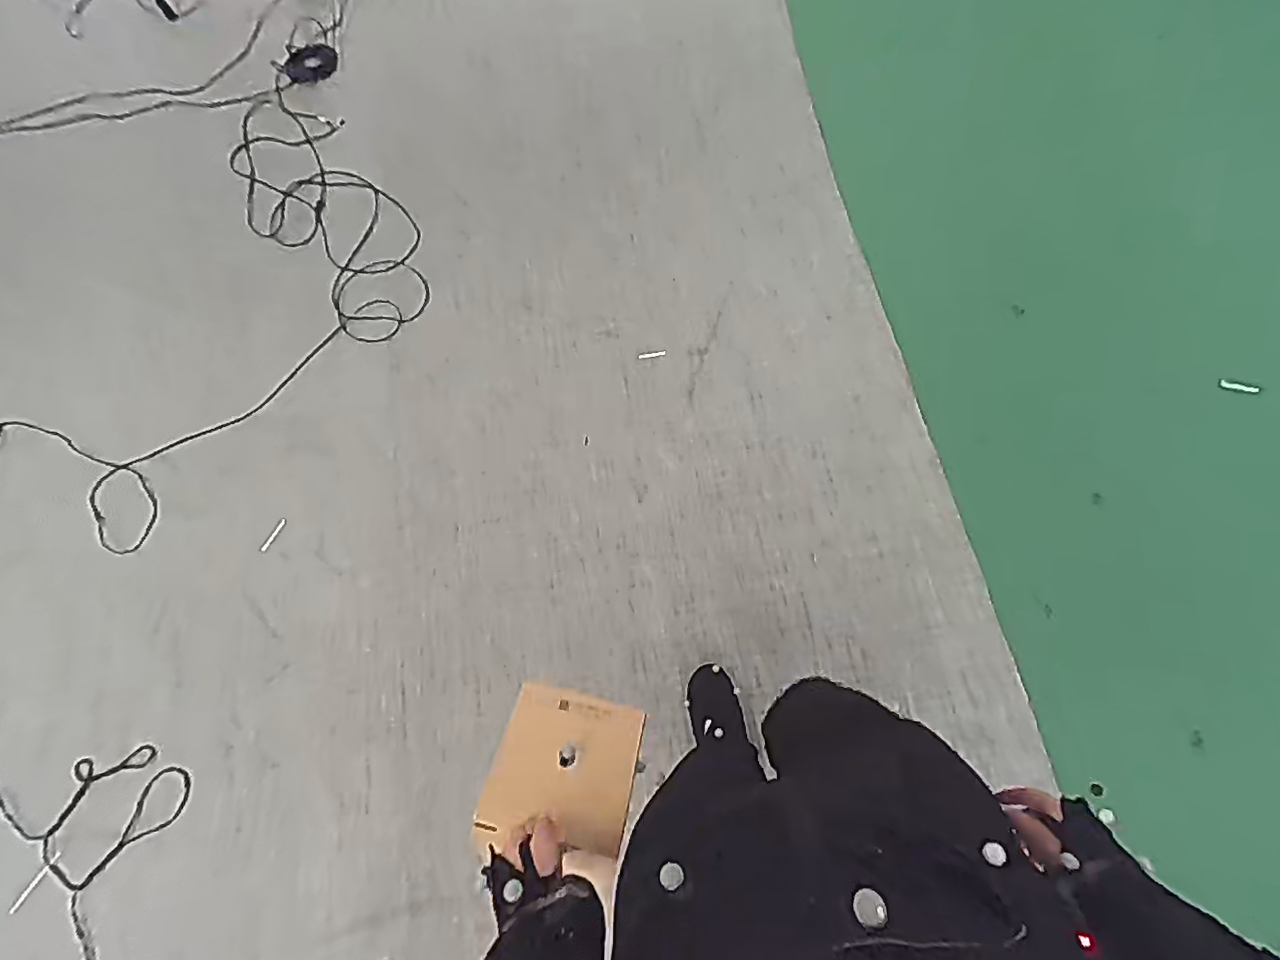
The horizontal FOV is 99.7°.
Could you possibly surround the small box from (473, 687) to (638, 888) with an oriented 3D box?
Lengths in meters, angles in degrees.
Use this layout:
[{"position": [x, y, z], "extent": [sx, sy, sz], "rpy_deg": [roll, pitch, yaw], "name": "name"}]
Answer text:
[{"position": [-0.102, 0.393, 0.698], "extent": [0.168, 0.179, 0.176], "rpy_deg": [13, 44, 2], "name": "small box"}]
